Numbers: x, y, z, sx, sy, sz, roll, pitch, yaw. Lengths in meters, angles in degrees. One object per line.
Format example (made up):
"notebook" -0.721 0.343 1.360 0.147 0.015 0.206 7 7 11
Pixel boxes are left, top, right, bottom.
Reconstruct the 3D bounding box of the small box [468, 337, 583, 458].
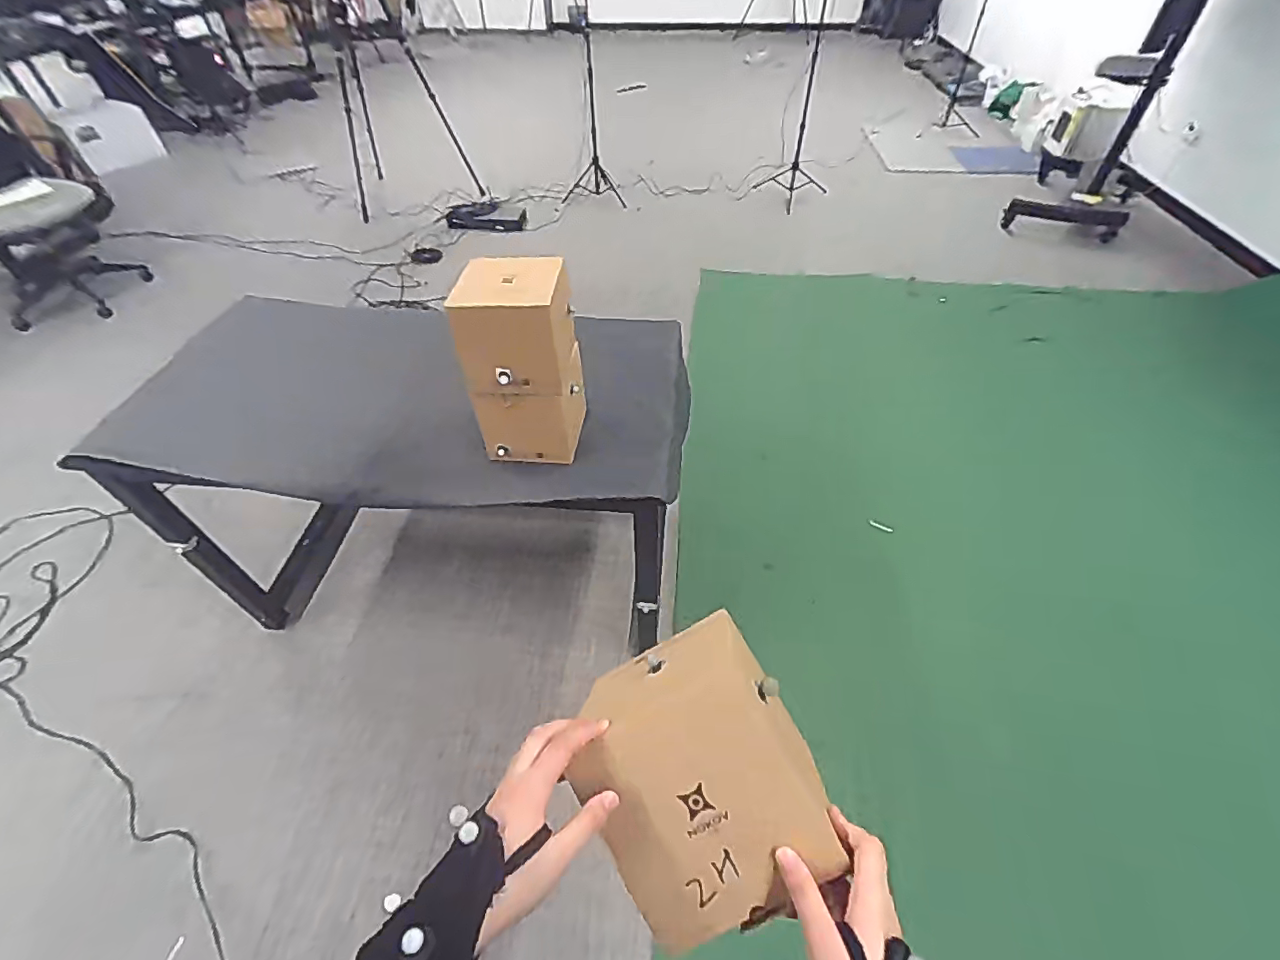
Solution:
"small box" -0.208 -0.159 1.043 0.168 0.176 0.179 3 45 4

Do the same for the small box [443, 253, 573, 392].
"small box" -0.211 -0.269 0.923 0.168 0.176 0.179 0 47 3

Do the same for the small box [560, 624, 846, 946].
"small box" 0.055 0.252 0.500 0.168 0.176 0.179 -31 87 7
